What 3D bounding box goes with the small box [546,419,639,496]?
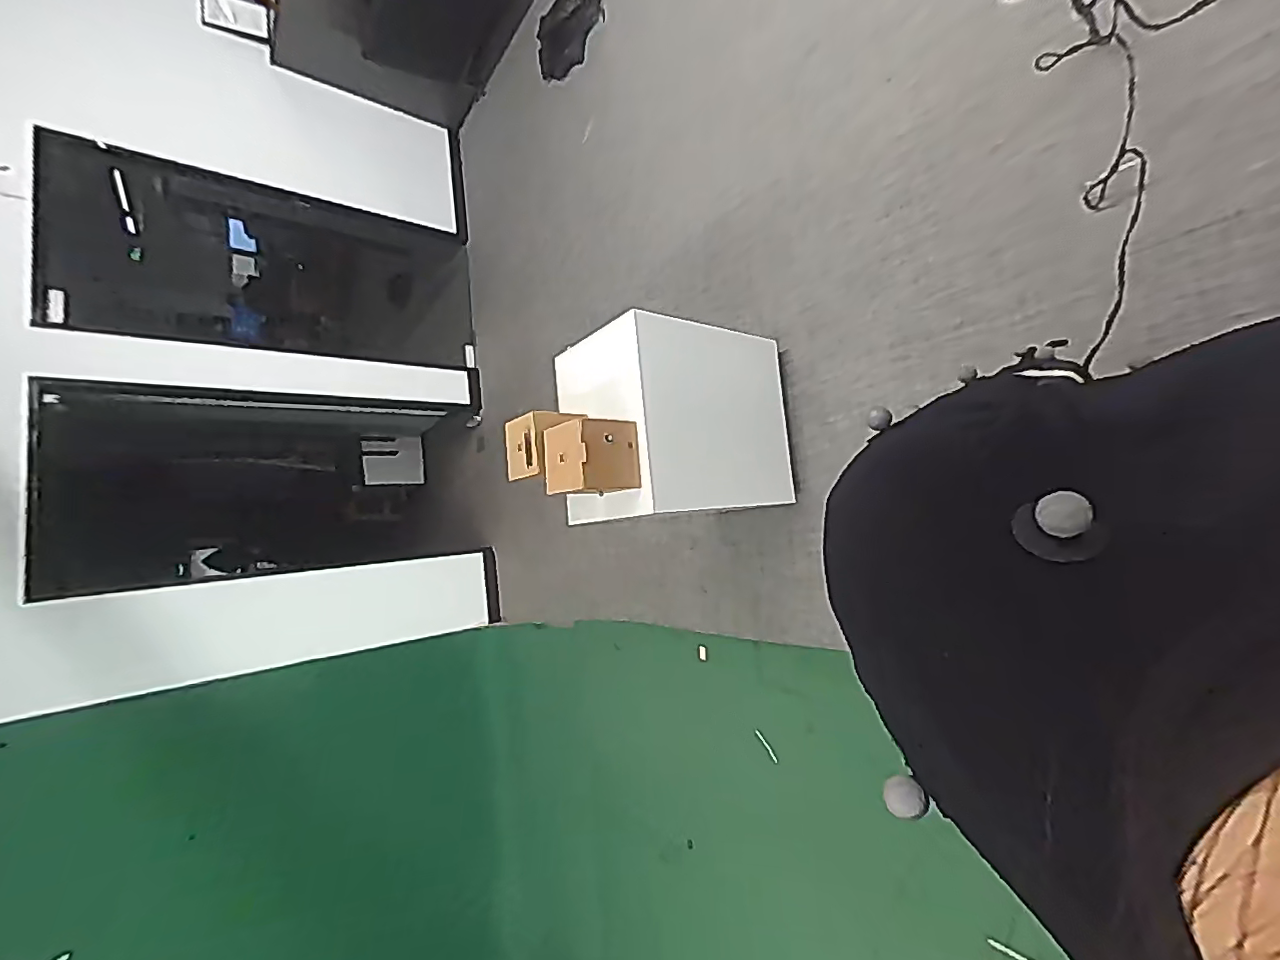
[{"bbox_3d":[-0.114,-0.051,1.324,0.179,0.176,0.168,-11,81,53],"label":"small box"}]
